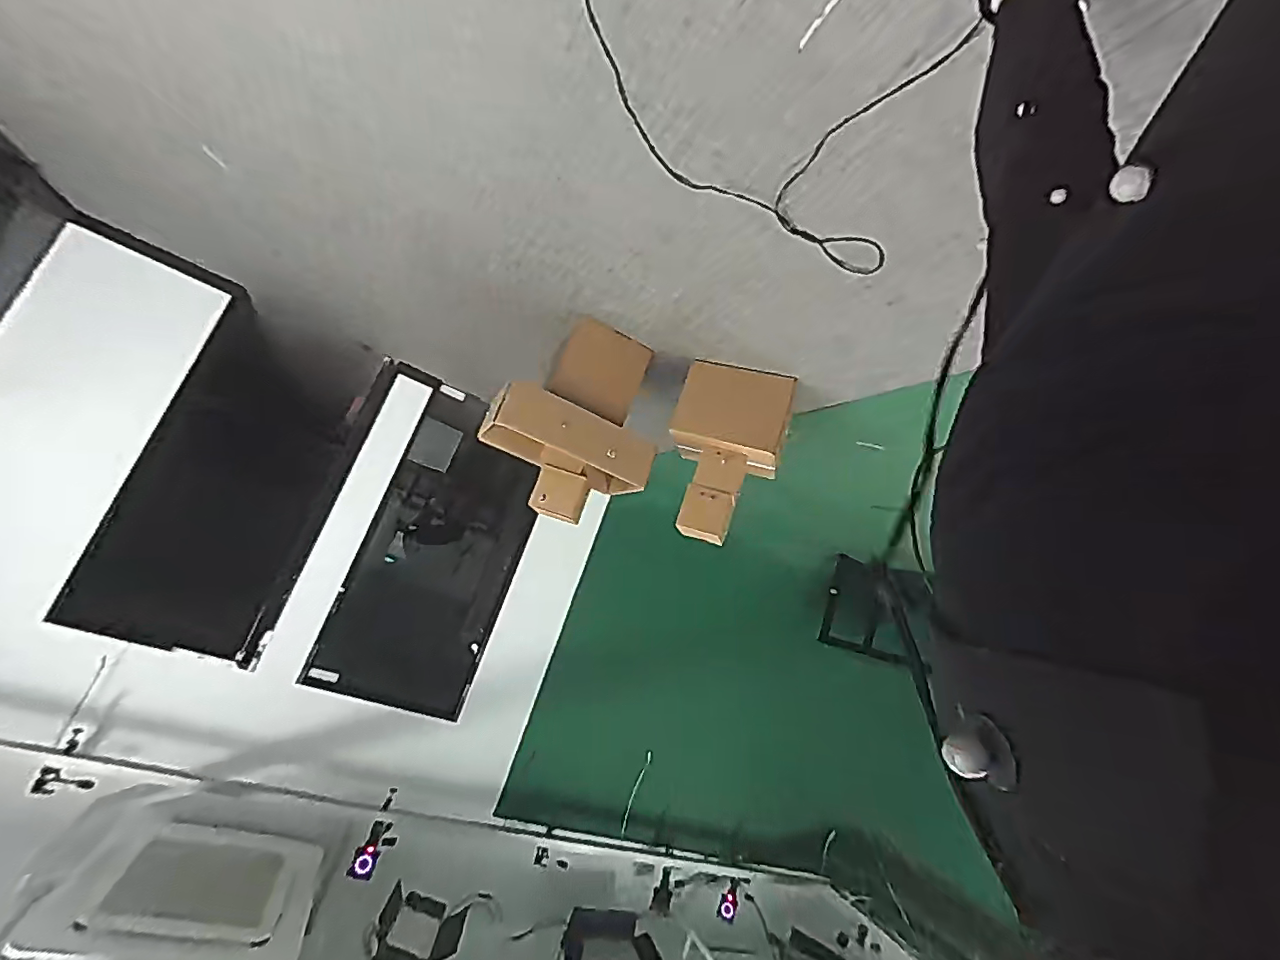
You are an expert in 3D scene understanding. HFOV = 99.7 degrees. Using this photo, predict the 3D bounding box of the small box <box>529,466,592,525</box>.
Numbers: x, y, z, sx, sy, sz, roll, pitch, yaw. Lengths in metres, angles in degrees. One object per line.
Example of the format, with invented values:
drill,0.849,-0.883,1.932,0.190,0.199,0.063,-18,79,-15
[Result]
small box,-0.301,0.056,2.084,0.179,0.176,0.168,17,168,7

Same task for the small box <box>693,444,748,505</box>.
small box,0.313,-0.018,2.076,0.168,0.176,0.179,16,166,15

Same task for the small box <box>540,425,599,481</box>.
small box,-0.271,-0.101,2.131,0.179,0.176,0.168,17,166,8

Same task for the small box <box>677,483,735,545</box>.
small box,0.254,0.128,2.036,0.168,0.176,0.179,15,166,17
